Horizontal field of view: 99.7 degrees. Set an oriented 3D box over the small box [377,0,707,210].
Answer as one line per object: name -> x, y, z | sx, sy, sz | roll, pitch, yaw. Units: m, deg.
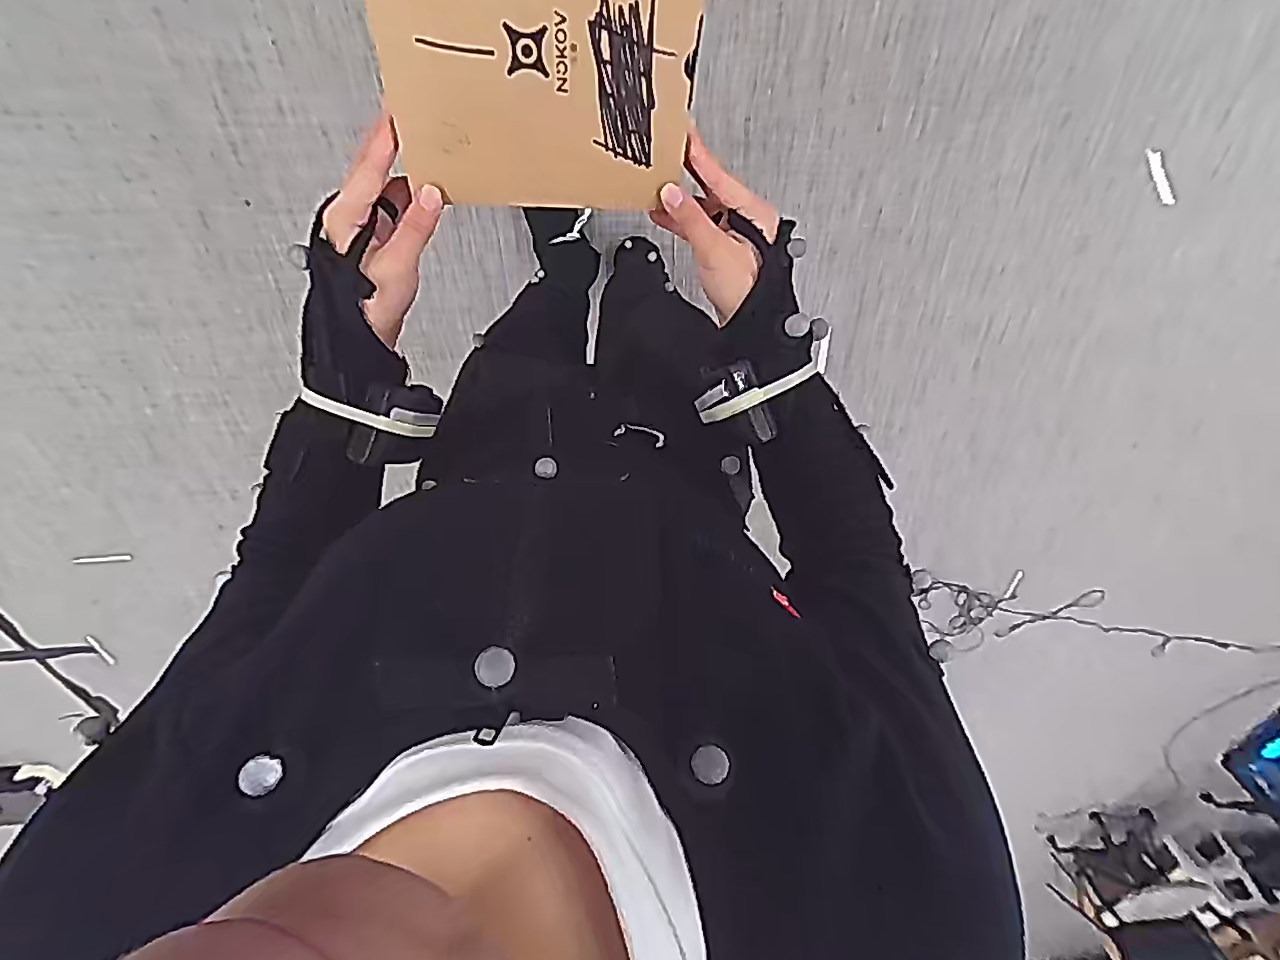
small box -> -0.061, -0.301, 0.353 | 0.179, 0.176, 0.168 | -1, 142, -8
